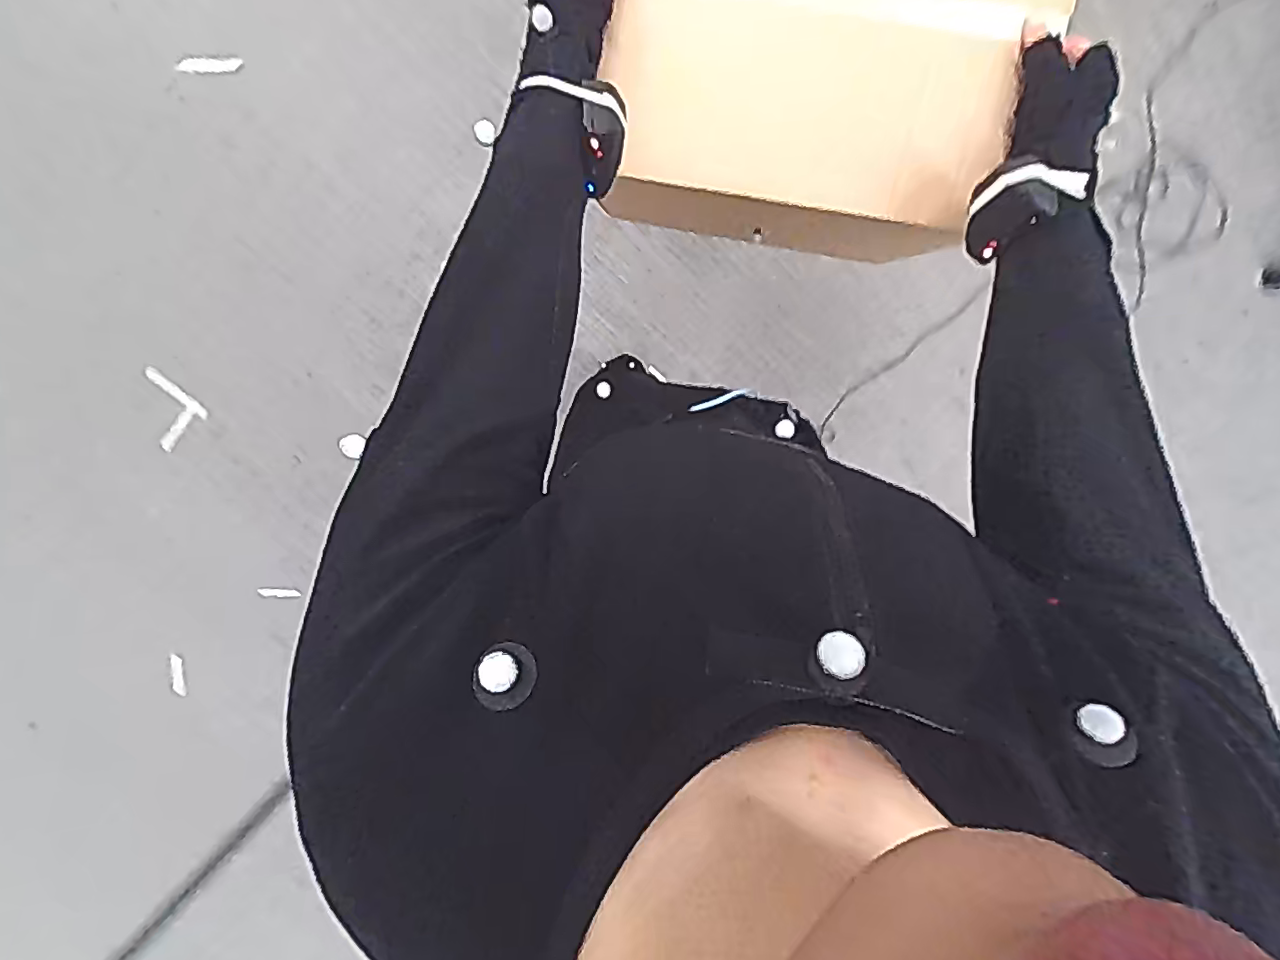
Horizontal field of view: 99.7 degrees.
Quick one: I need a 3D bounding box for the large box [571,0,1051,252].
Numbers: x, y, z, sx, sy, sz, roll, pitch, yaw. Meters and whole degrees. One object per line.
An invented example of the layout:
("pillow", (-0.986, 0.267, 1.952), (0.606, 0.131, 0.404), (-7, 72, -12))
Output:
("large box", (0.161, -0.456, 0.612), (0.408, 0.320, 0.320), (9, 107, 1))
